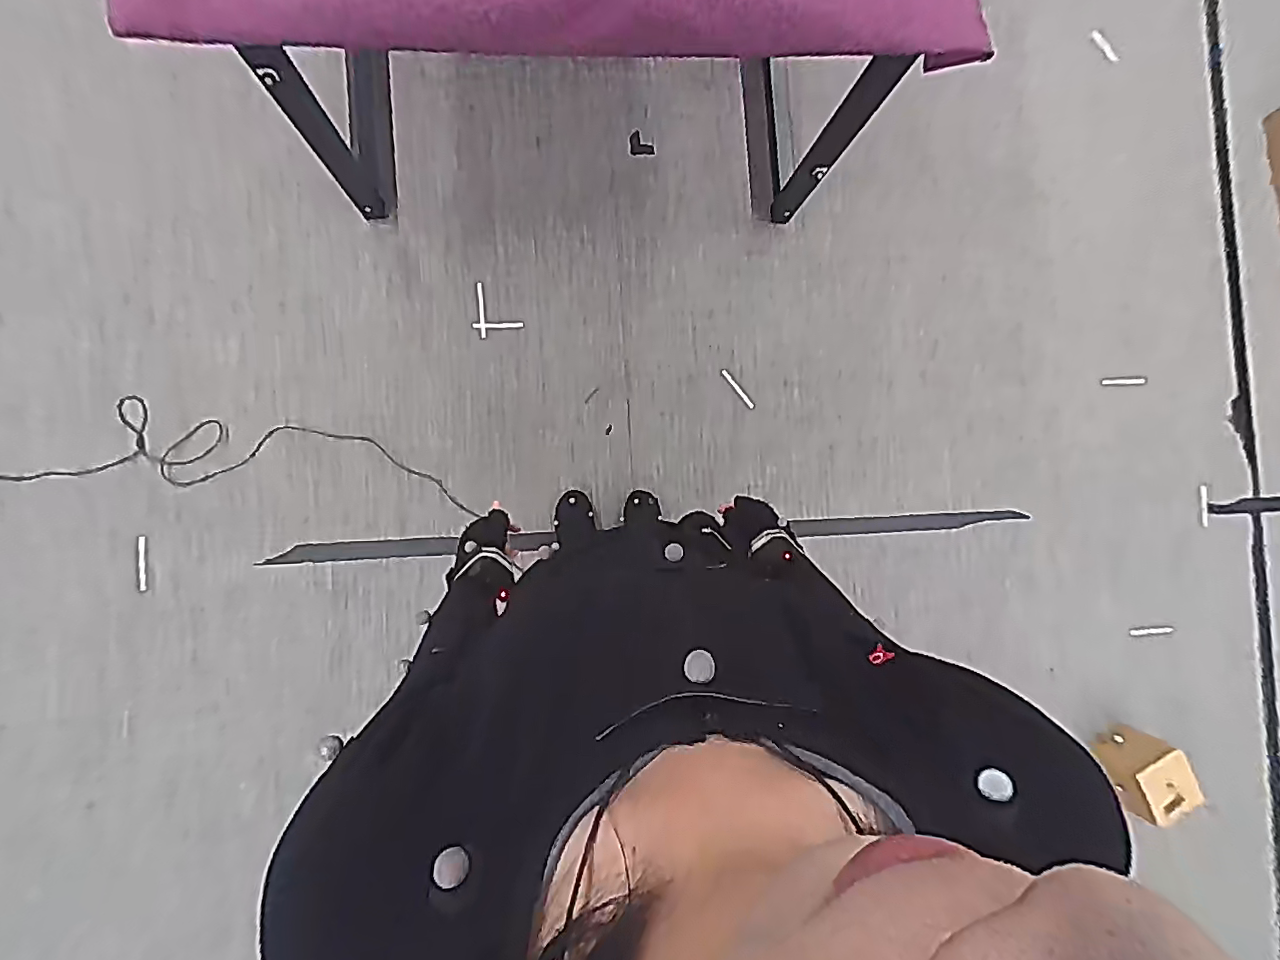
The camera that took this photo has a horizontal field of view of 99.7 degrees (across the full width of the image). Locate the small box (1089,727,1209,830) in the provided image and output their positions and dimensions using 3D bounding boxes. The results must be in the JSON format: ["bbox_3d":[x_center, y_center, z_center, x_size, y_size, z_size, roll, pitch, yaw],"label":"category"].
[{"bbox_3d":[1.502,0.877,1.606,0.168,0.176,0.179,-26,91,-7],"label":"small box"}]
